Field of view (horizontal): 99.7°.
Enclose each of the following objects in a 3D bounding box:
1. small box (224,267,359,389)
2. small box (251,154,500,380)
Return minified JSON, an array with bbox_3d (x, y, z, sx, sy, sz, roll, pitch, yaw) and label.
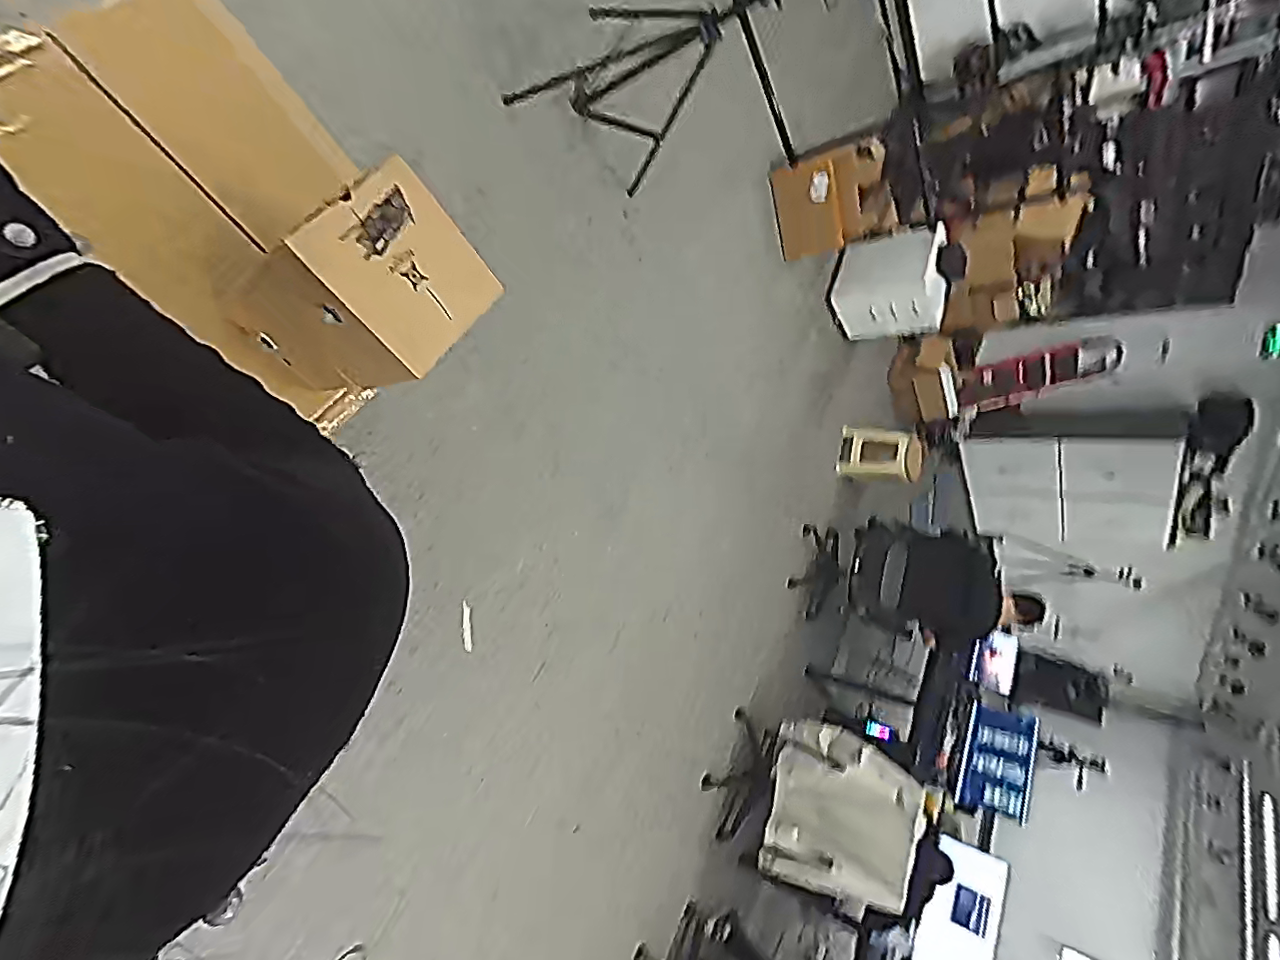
[{"bbox_3d":[-0.431,-0.246,0.752,0.168,0.176,0.179,52,59,-34],"label":"small box"},{"bbox_3d":[-0.311,-0.235,0.639,0.179,0.176,0.168,52,57,-35],"label":"small box"}]
